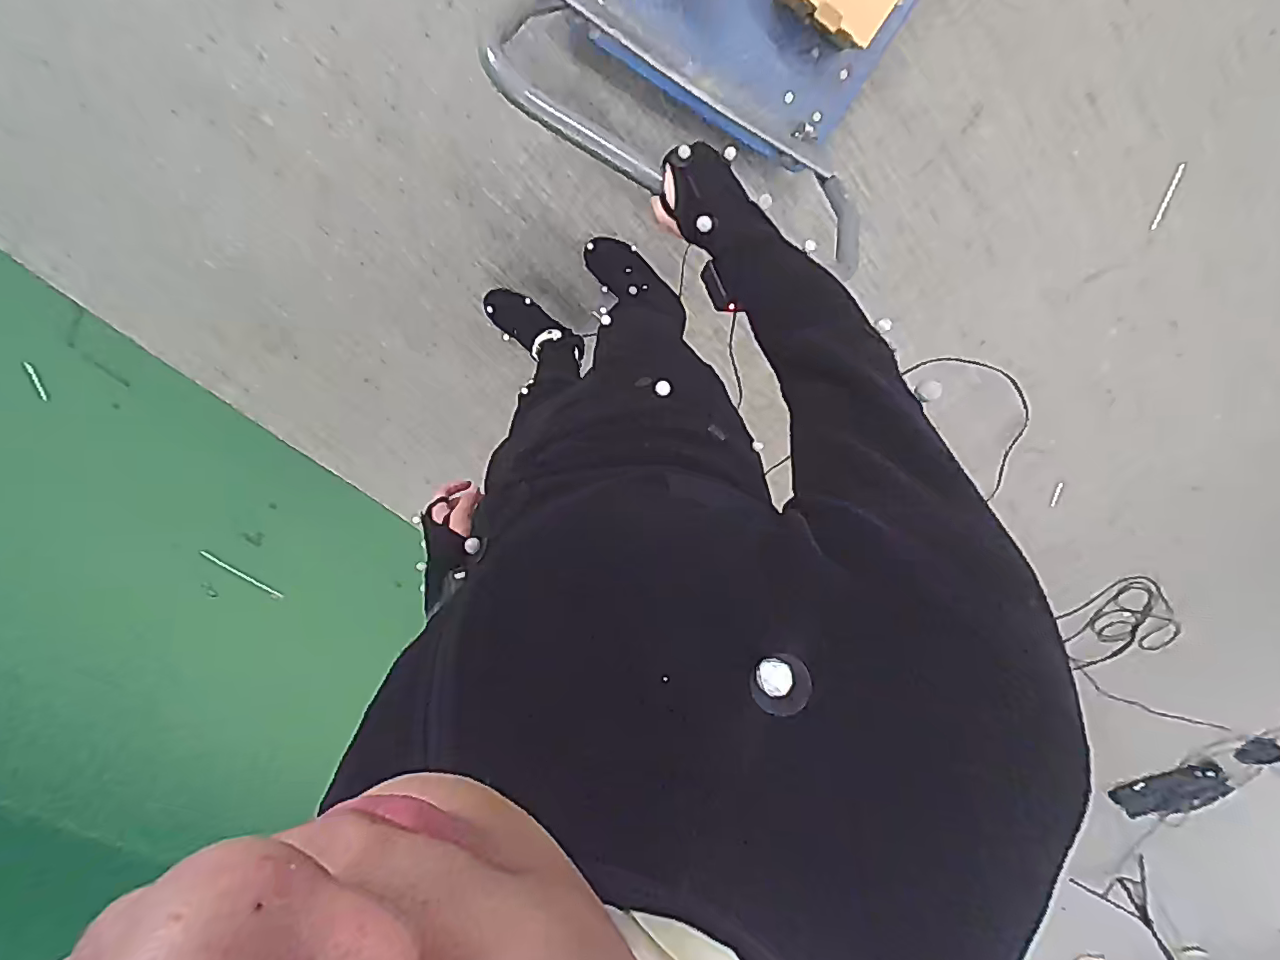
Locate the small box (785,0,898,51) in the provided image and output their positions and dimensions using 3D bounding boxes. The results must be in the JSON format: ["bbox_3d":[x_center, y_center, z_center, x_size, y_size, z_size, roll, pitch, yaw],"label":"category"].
[{"bbox_3d":[0.351,-0.855,0.889,0.168,0.176,0.179,26,128,-16],"label":"small box"}]
